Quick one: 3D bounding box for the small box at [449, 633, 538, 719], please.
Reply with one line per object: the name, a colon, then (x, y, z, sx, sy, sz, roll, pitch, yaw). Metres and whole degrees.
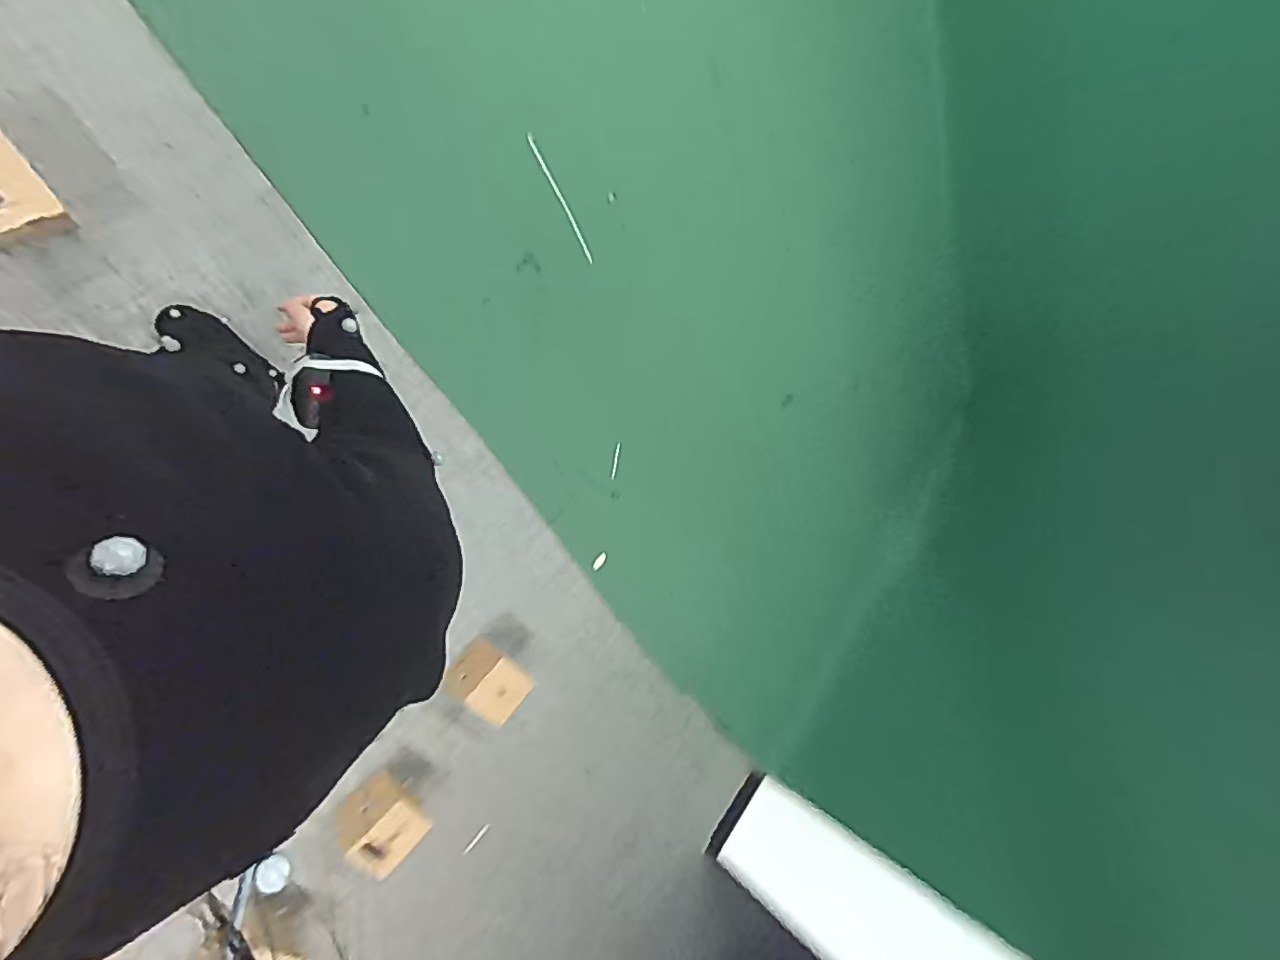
small box: (-0.463, 0.603, 1.691, 0.168, 0.176, 0.179, -48, 128, -20)

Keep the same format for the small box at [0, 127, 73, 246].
small box: (-1.080, -0.484, 0.869, 0.168, 0.176, 0.179, -40, 124, -27)

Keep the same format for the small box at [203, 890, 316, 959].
small box: (-0.988, 1.214, 1.398, 0.168, 0.176, 0.179, -45, 126, -22)
